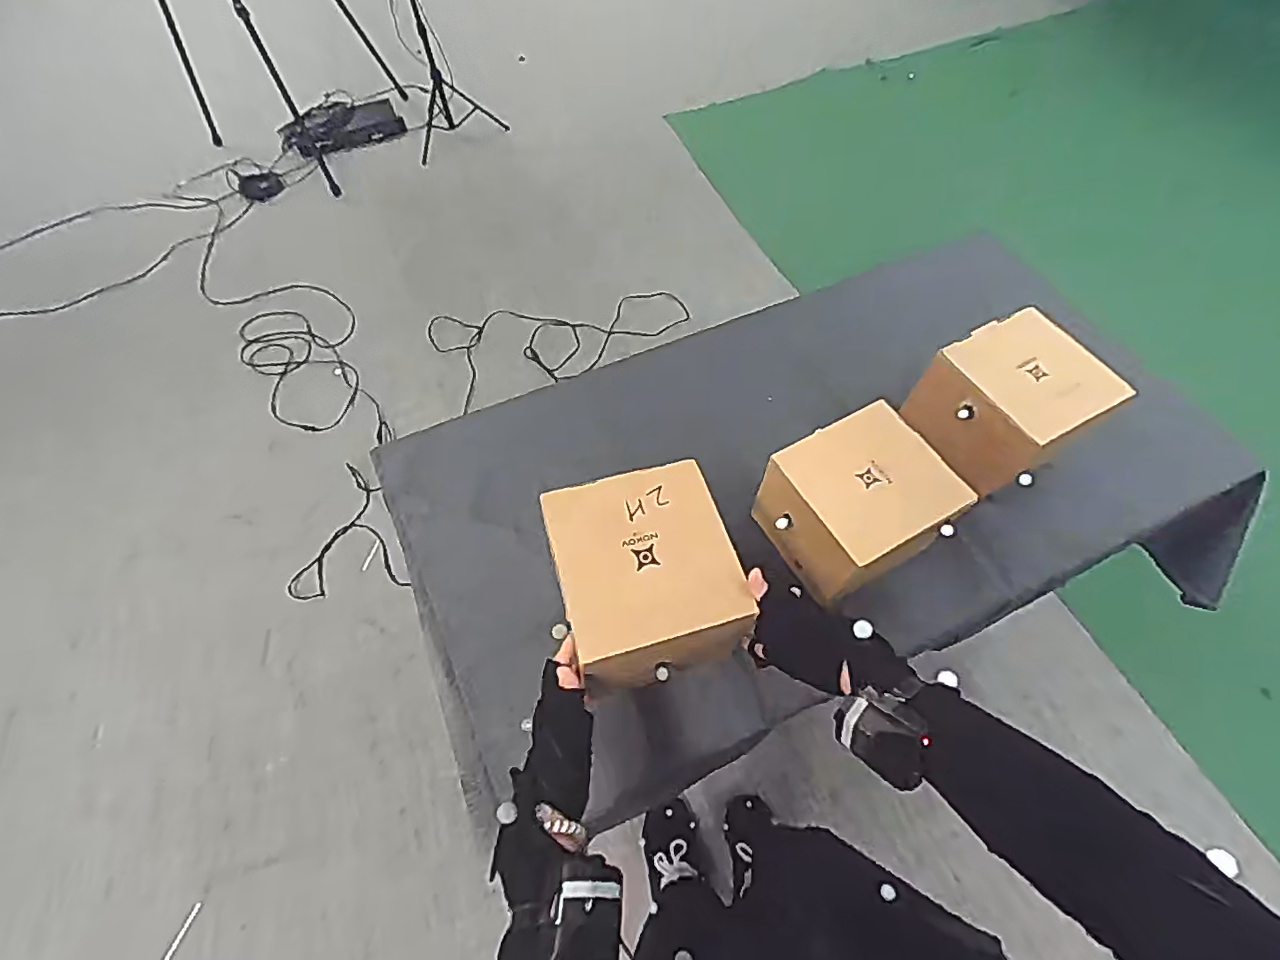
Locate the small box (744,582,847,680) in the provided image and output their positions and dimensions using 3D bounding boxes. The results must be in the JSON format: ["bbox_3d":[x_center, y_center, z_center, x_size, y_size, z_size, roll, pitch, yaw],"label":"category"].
[{"bbox_3d":[0.371,0.374,1.336,0.179,0.176,0.168,-24,64,-10],"label":"small box"}]

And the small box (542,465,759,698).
[{"bbox_3d":[0.002,0.115,0.566,0.168,0.176,0.179,-13,59,-11],"label":"small box"}]

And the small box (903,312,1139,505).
[{"bbox_3d":[0.511,-0.095,0.760,0.168,0.176,0.179,-25,64,-10],"label":"small box"}]

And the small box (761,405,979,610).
[{"bbox_3d":[0.273,0.043,0.694,0.179,0.176,0.168,-26,64,-12],"label":"small box"}]
